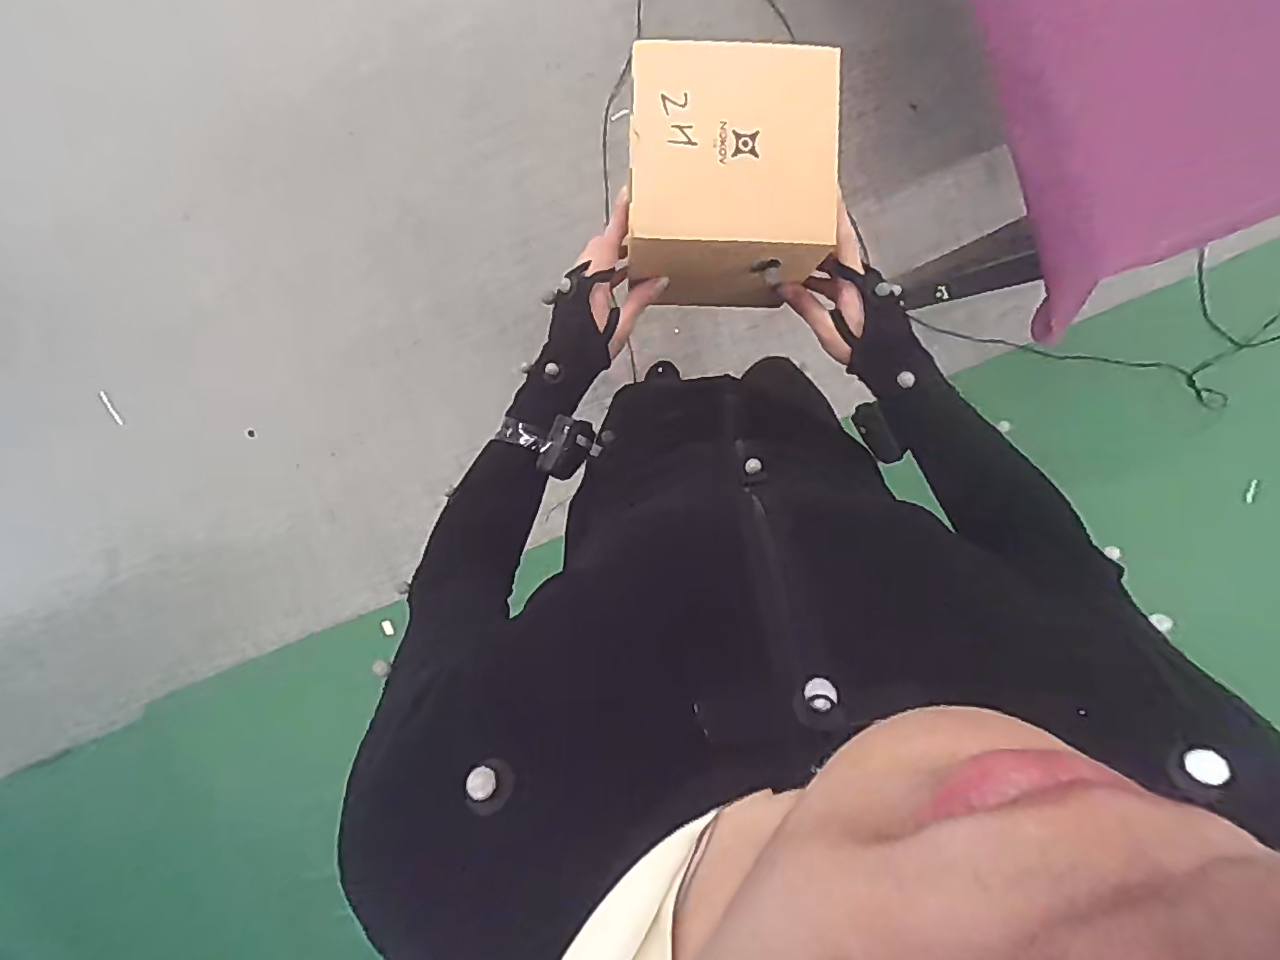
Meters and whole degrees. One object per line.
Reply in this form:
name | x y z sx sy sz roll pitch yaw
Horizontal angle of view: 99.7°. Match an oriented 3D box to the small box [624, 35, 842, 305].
small box | 0.076 -0.279 0.524 0.179 0.176 0.168 2 89 -1
